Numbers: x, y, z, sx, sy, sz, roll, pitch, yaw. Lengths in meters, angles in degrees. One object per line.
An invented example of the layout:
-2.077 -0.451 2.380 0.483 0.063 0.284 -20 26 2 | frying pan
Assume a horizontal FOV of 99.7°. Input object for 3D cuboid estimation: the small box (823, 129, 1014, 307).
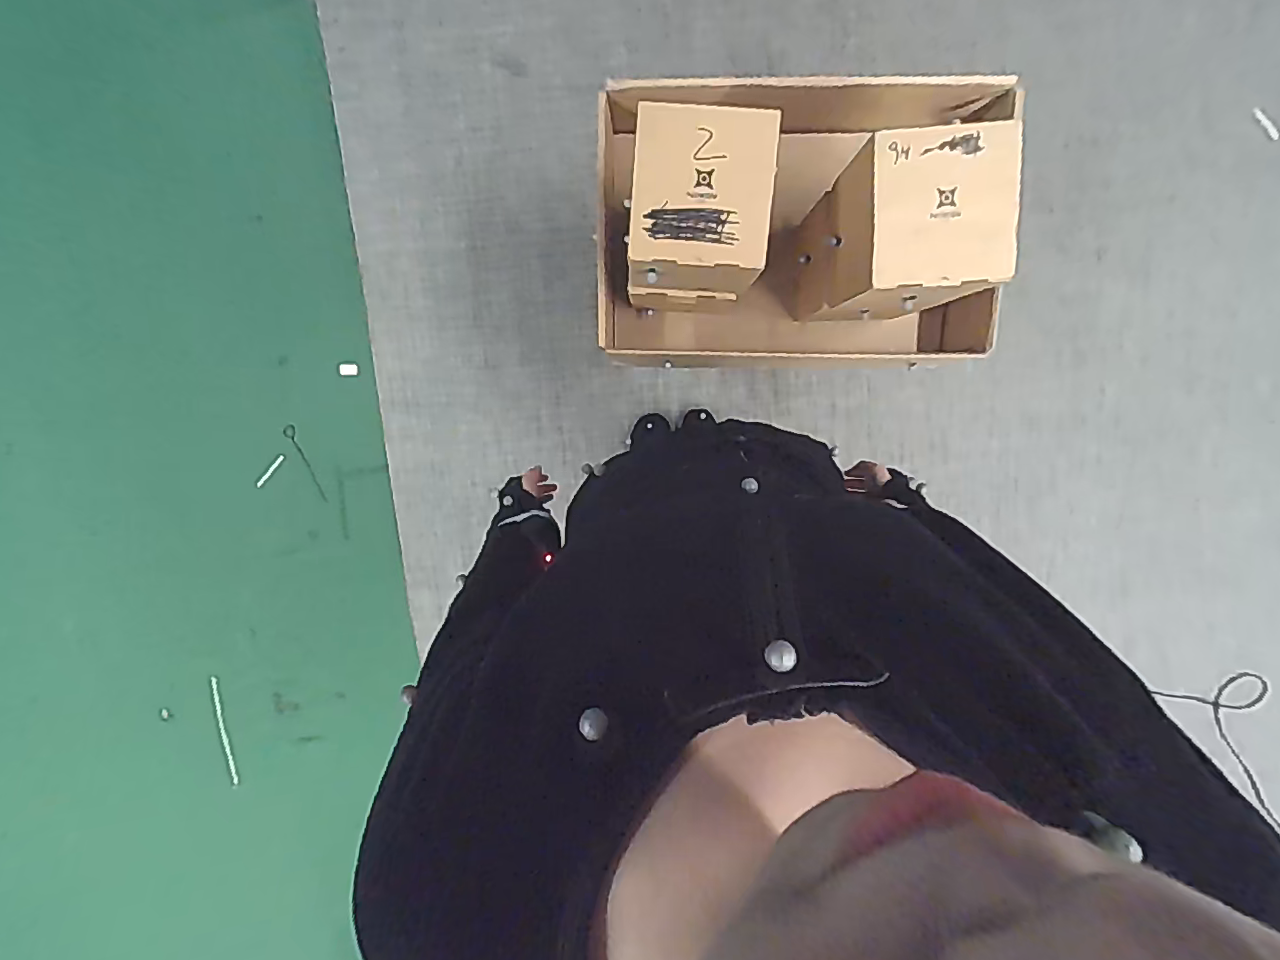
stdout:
0.348 -0.326 0.710 0.168 0.176 0.179 -2 100 2 | small box
